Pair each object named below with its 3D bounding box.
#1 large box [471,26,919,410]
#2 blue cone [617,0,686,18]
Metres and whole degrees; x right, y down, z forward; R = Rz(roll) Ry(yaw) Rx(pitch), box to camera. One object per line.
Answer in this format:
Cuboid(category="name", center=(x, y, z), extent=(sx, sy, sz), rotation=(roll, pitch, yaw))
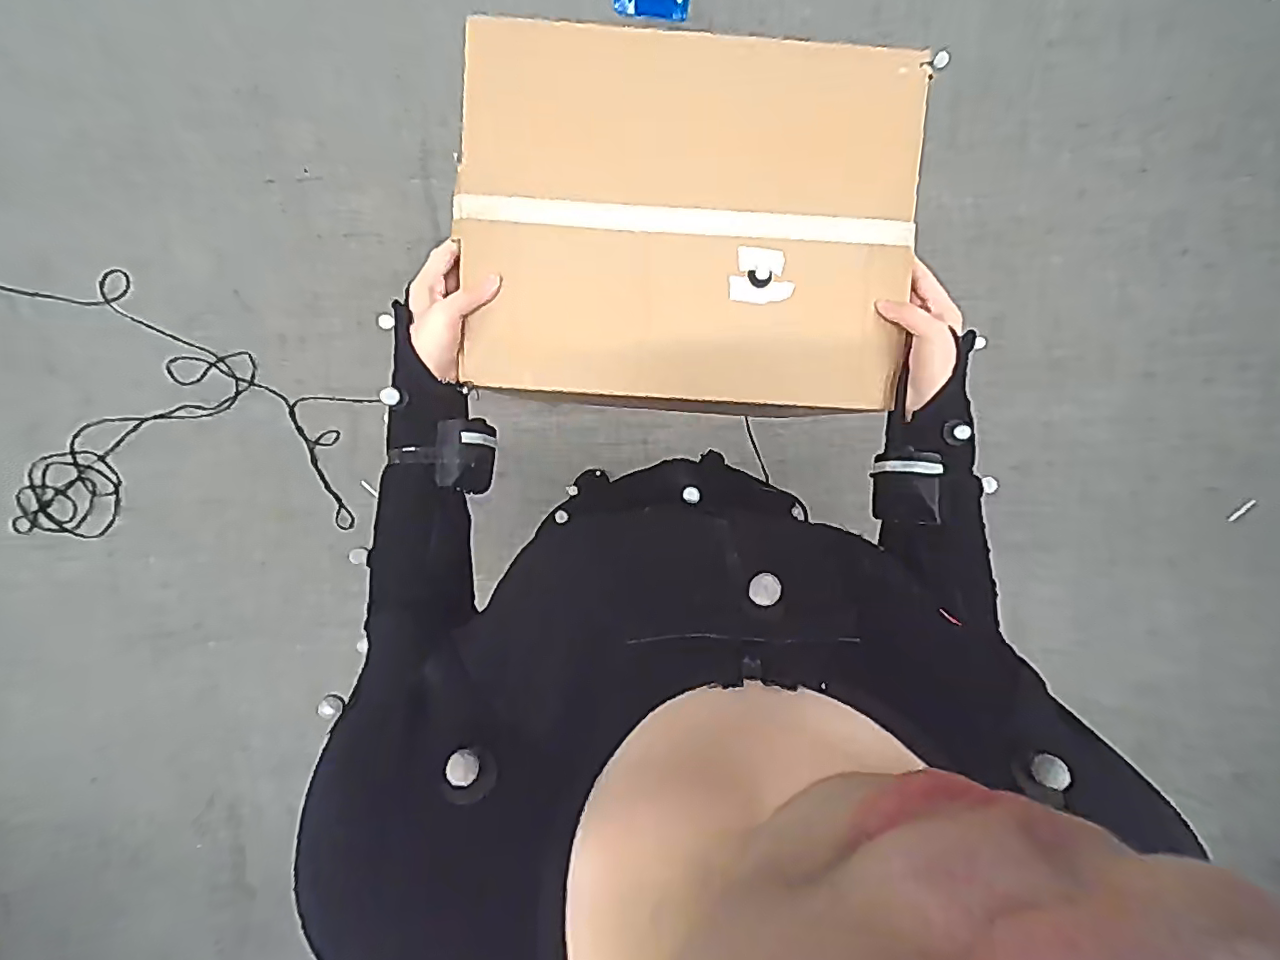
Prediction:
Cuboid(category="large box", center=(0.041, -0.249, 0.637), extent=(0.408, 0.320, 0.320), rotation=(3, 96, -2))
Cuboid(category="blue cone", center=(0.036, -1.340, 1.287), extent=(0.193, 0.380, 0.192), rotation=(8, 91, 0))
